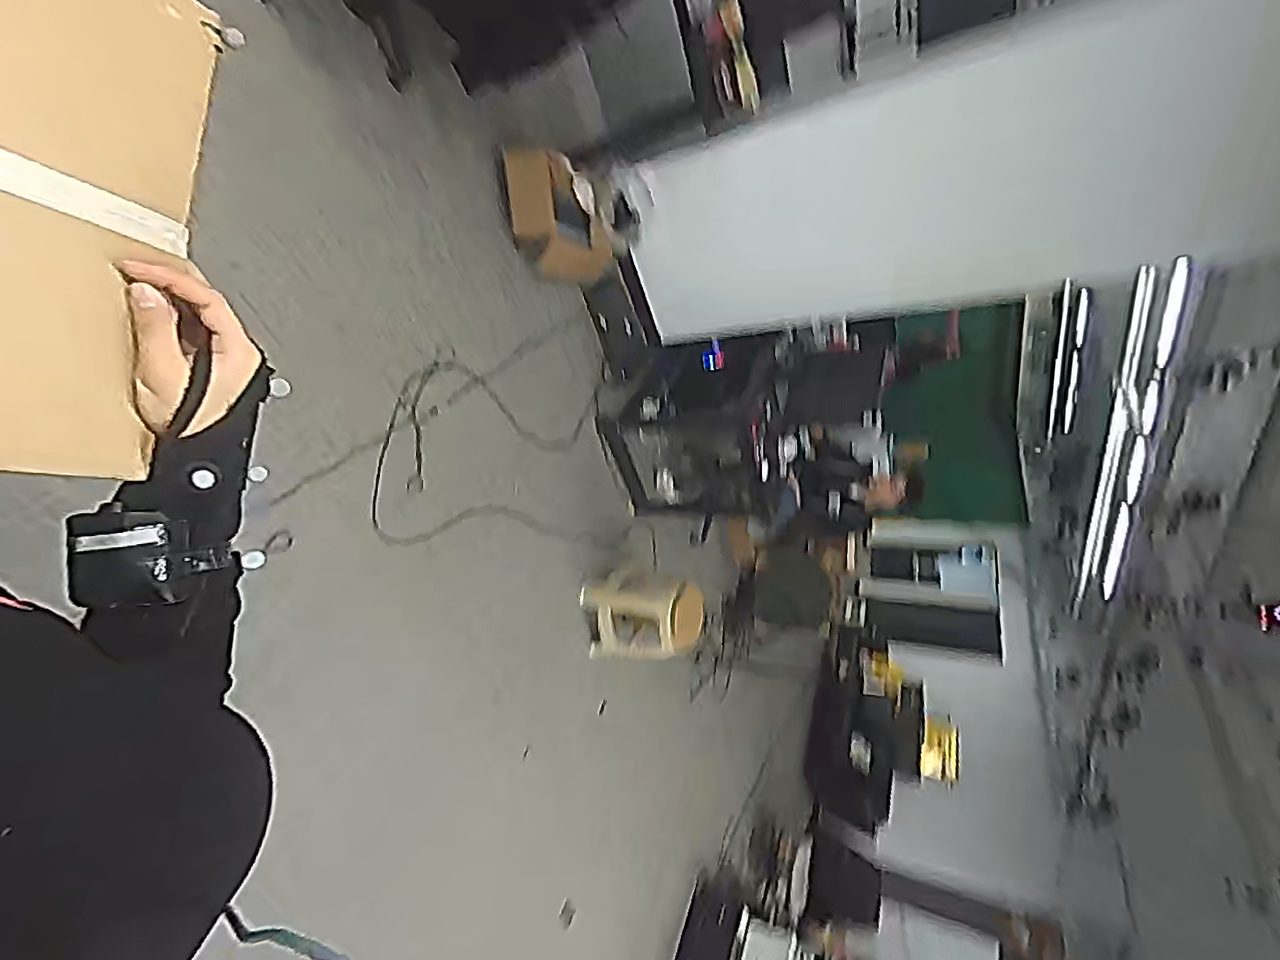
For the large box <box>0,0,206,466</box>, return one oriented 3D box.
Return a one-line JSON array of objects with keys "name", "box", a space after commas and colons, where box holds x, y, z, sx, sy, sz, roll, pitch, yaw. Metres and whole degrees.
[{"name": "large box", "box": [-0.530, -0.182, 0.257, 0.408, 0.320, 0.320, 8, 88, -62]}]
